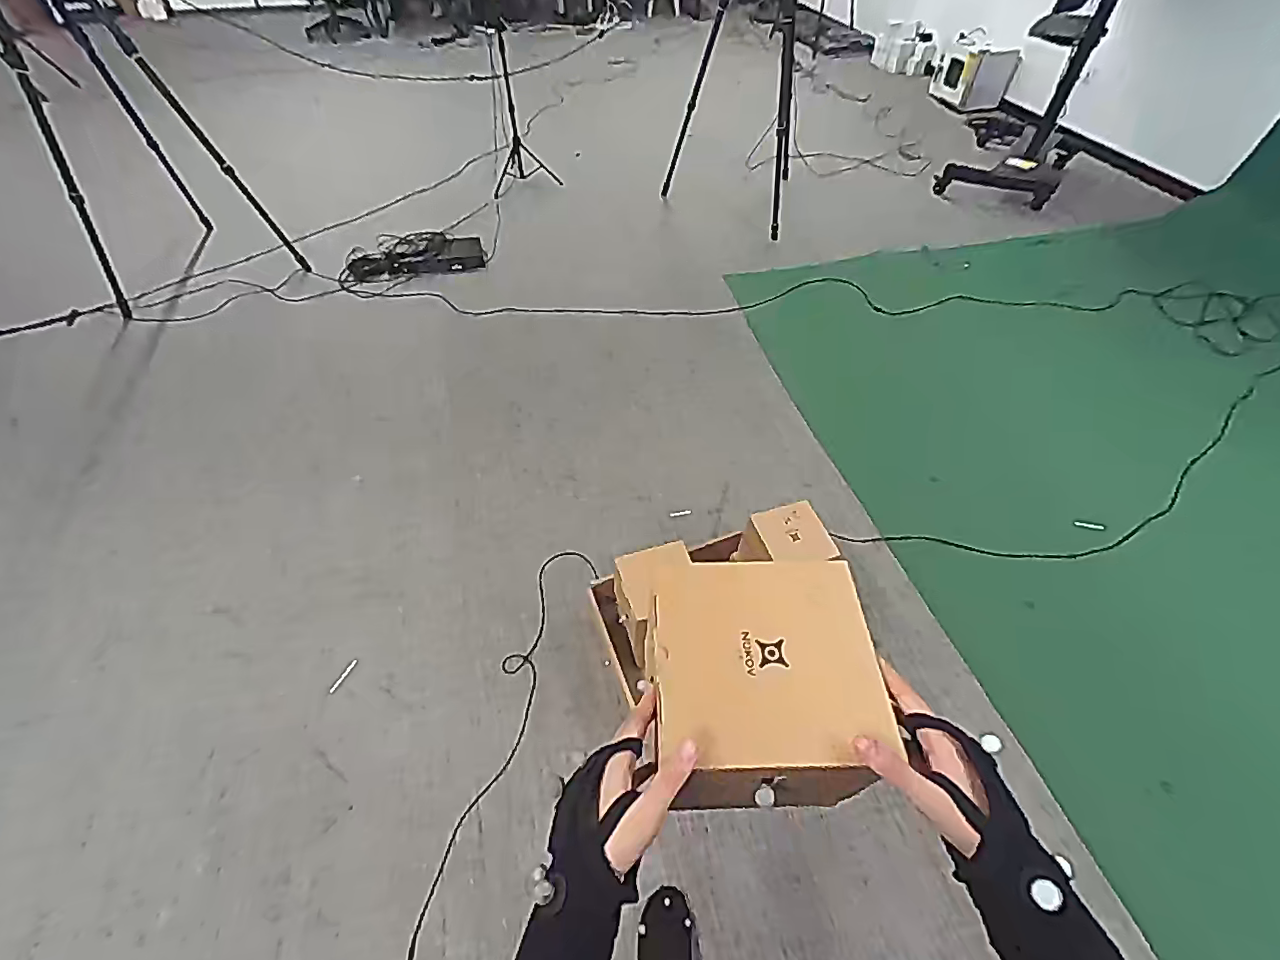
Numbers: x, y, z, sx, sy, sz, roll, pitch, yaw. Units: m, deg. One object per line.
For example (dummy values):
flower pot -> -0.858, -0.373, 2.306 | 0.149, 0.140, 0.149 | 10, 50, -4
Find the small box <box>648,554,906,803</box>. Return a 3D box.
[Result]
small box -> 0.098, 0.180, 0.484 | 0.179, 0.176, 0.168 | -1, 51, -1

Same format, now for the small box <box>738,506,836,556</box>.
small box -> 0.368, 0.197, 1.375 | 0.168, 0.176, 0.179 | -13, 52, -13

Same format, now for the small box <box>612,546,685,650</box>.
small box -> 0.039, 0.287, 1.296 | 0.179, 0.176, 0.168 | -13, 54, -13
